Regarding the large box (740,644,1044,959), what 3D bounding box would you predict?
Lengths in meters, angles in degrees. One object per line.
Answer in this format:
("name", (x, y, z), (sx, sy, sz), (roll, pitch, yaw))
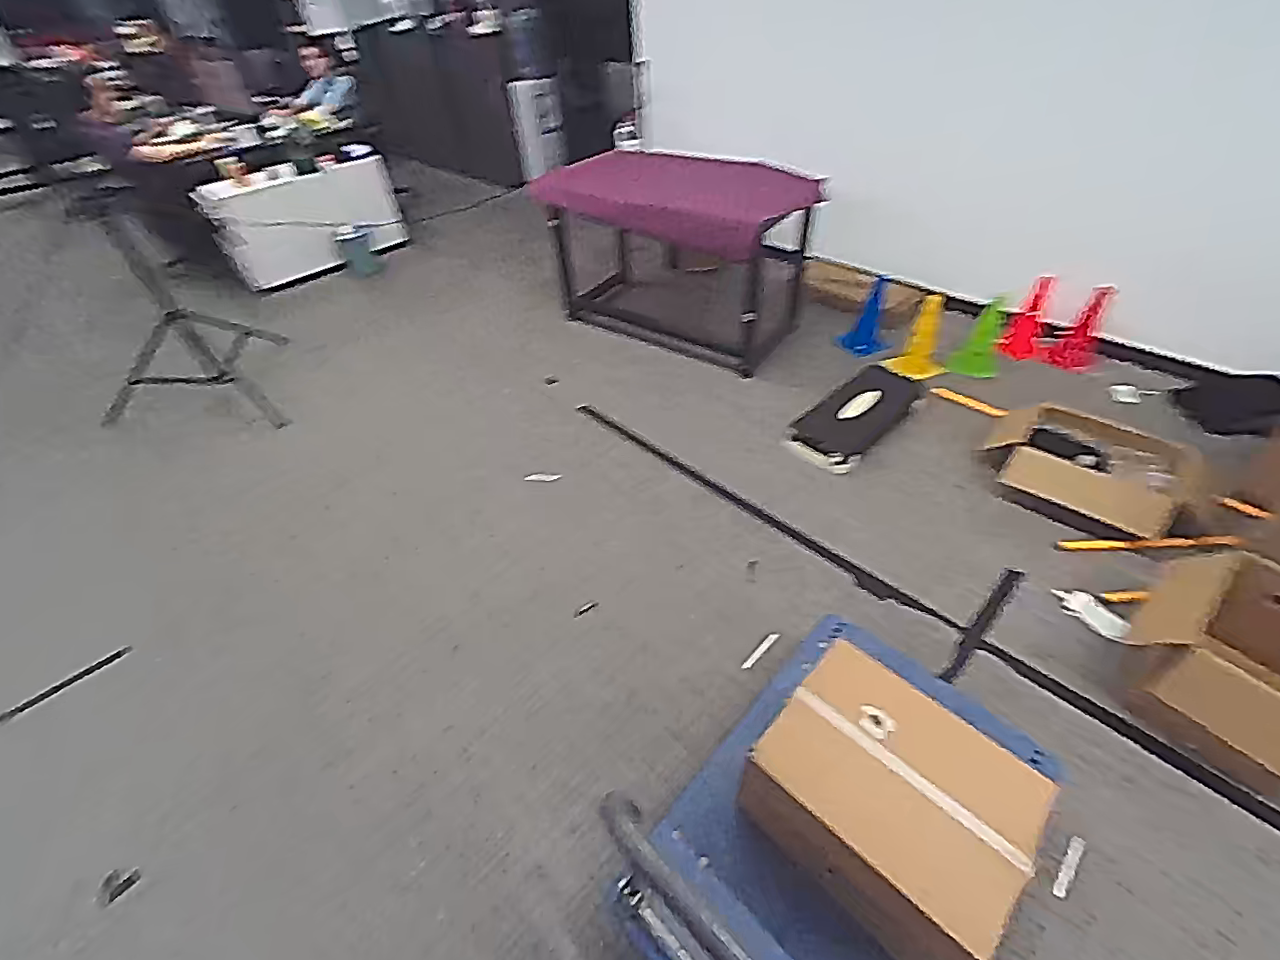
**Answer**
("large box", (0.450, 0.612, 1.045), (0.408, 0.320, 0.320), (32, 54, 32))
